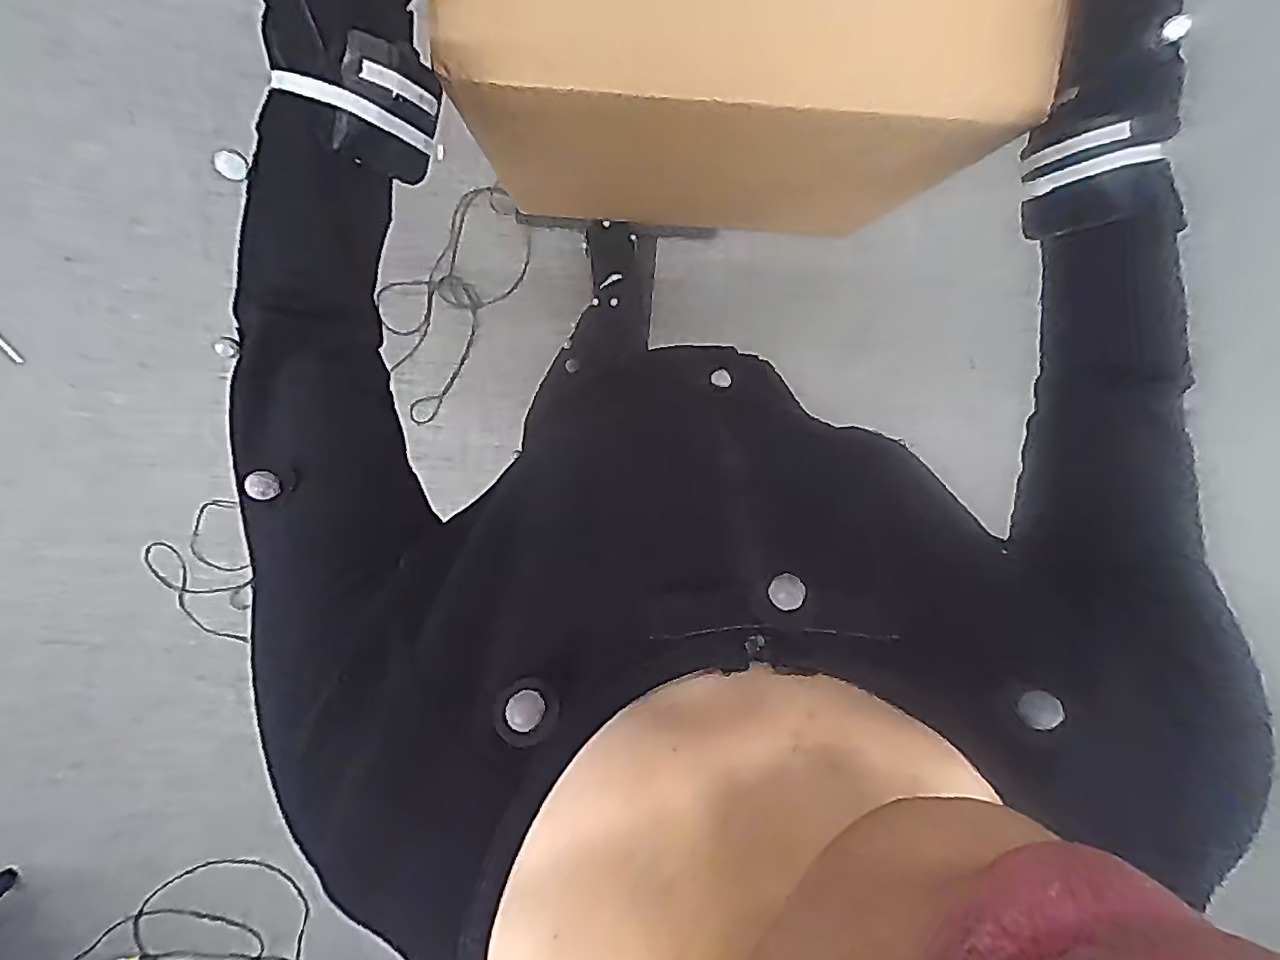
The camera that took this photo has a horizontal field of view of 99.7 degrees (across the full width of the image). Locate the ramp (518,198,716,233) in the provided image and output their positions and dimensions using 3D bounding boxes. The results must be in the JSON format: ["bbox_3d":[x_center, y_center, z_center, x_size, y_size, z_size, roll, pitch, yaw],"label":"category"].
[{"bbox_3d":[-0.022,-1.078,1.131,0.509,0.206,0.991,1,104,-3],"label":"ramp"}]

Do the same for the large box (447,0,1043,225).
[{"bbox_3d":[0.068,-0.439,0.482,0.408,0.320,0.320,2,102,-3],"label":"large box"}]
